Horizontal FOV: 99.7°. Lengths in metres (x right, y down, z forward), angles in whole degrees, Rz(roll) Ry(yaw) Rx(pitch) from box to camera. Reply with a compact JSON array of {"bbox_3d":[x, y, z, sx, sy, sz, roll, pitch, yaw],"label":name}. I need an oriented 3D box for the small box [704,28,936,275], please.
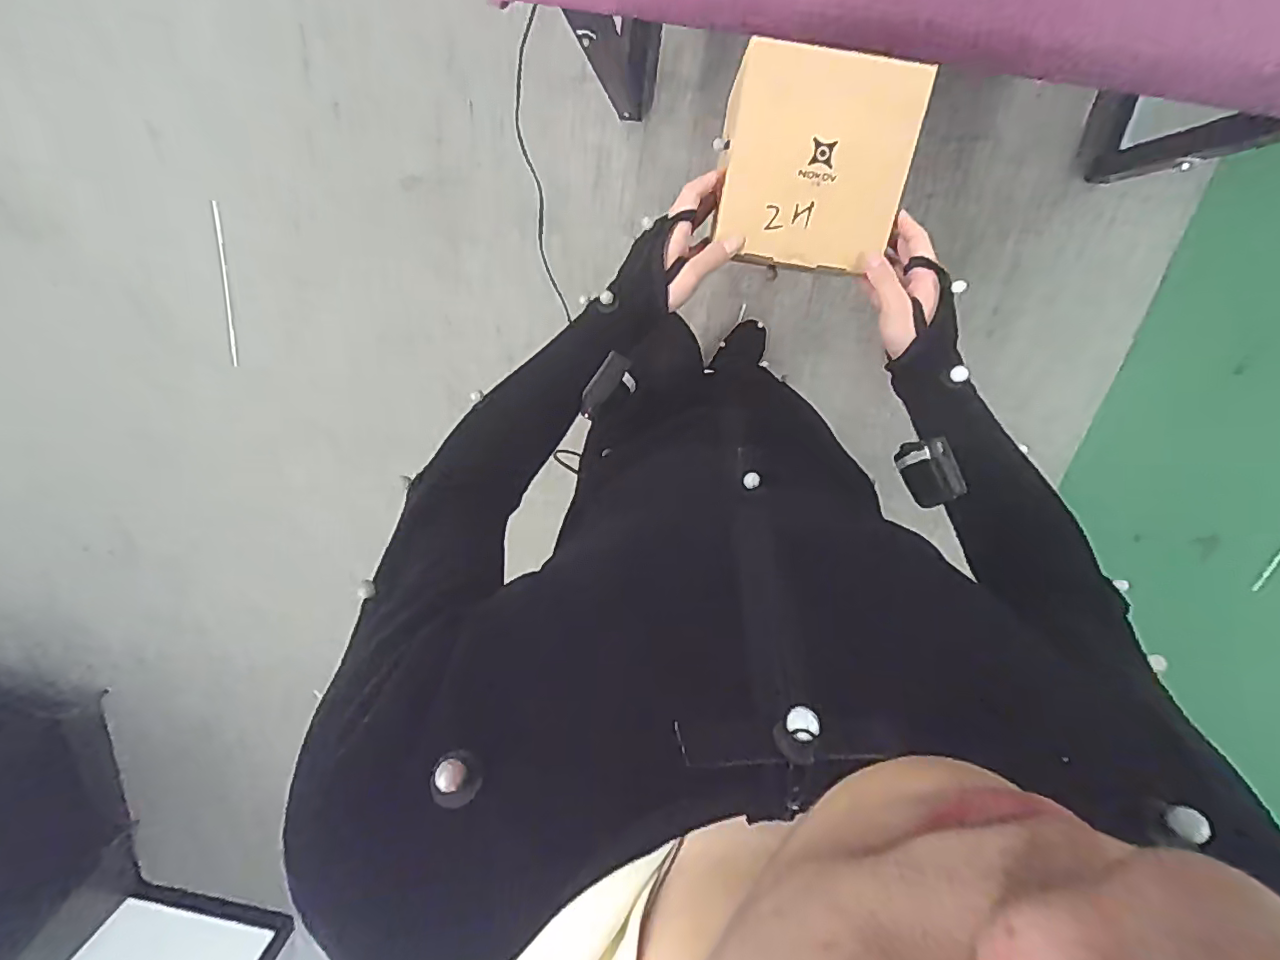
[{"bbox_3d":[0.166,-0.321,0.567,0.168,0.176,0.179,9,111,-1],"label":"small box"}]
